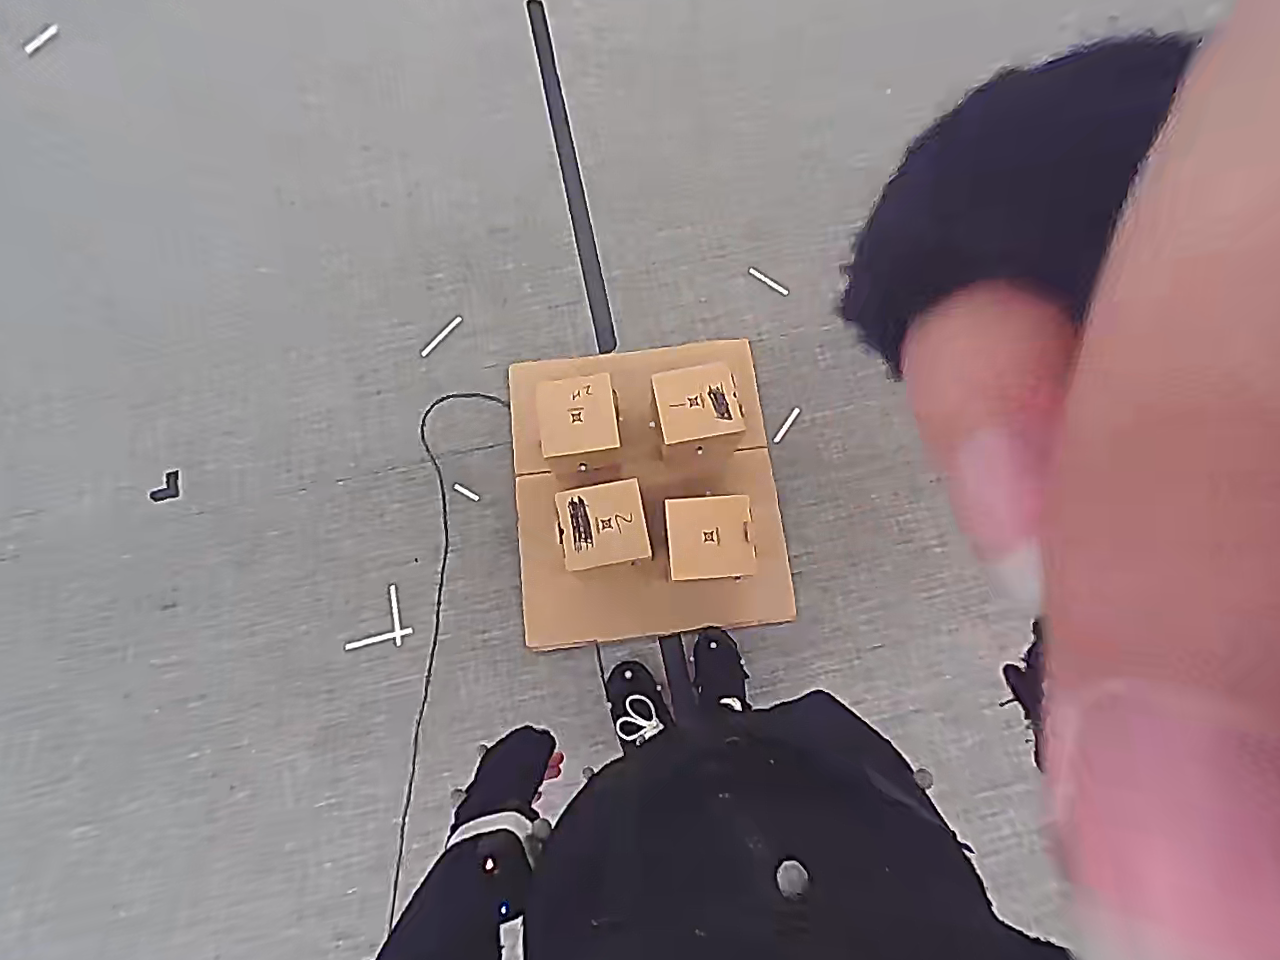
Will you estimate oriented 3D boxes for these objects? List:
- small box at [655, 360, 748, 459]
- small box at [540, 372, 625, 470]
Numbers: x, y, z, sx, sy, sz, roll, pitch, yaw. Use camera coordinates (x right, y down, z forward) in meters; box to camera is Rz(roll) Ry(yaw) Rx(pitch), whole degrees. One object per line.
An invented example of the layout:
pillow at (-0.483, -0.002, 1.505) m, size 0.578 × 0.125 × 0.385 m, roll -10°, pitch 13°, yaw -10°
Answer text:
small box at (0.132, -0.154, 1.233) m, size 0.179 × 0.176 × 0.168 m, roll -9°, pitch 77°, yaw -1°
small box at (-0.125, -0.126, 1.233) m, size 0.168 × 0.176 × 0.179 m, roll -7°, pitch 77°, yaw -2°
